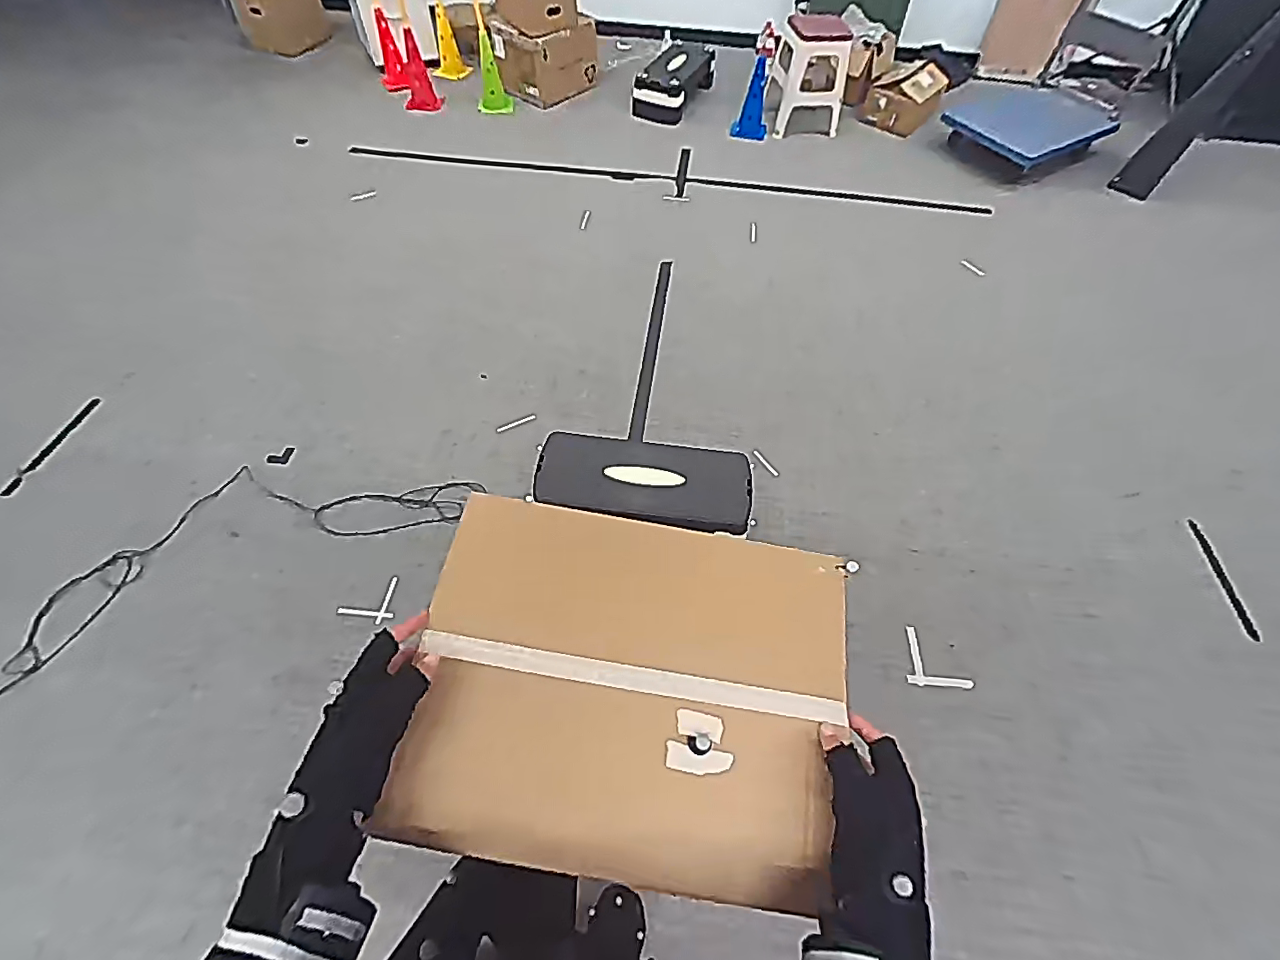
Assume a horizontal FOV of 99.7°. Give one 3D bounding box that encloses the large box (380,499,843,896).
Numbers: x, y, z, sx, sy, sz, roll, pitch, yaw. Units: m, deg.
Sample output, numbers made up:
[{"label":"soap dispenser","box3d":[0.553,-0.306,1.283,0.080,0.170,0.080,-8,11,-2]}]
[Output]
[{"label":"large box","box3d":[-0.017,0.250,0.651,0.408,0.320,0.320,10,64,0]}]
